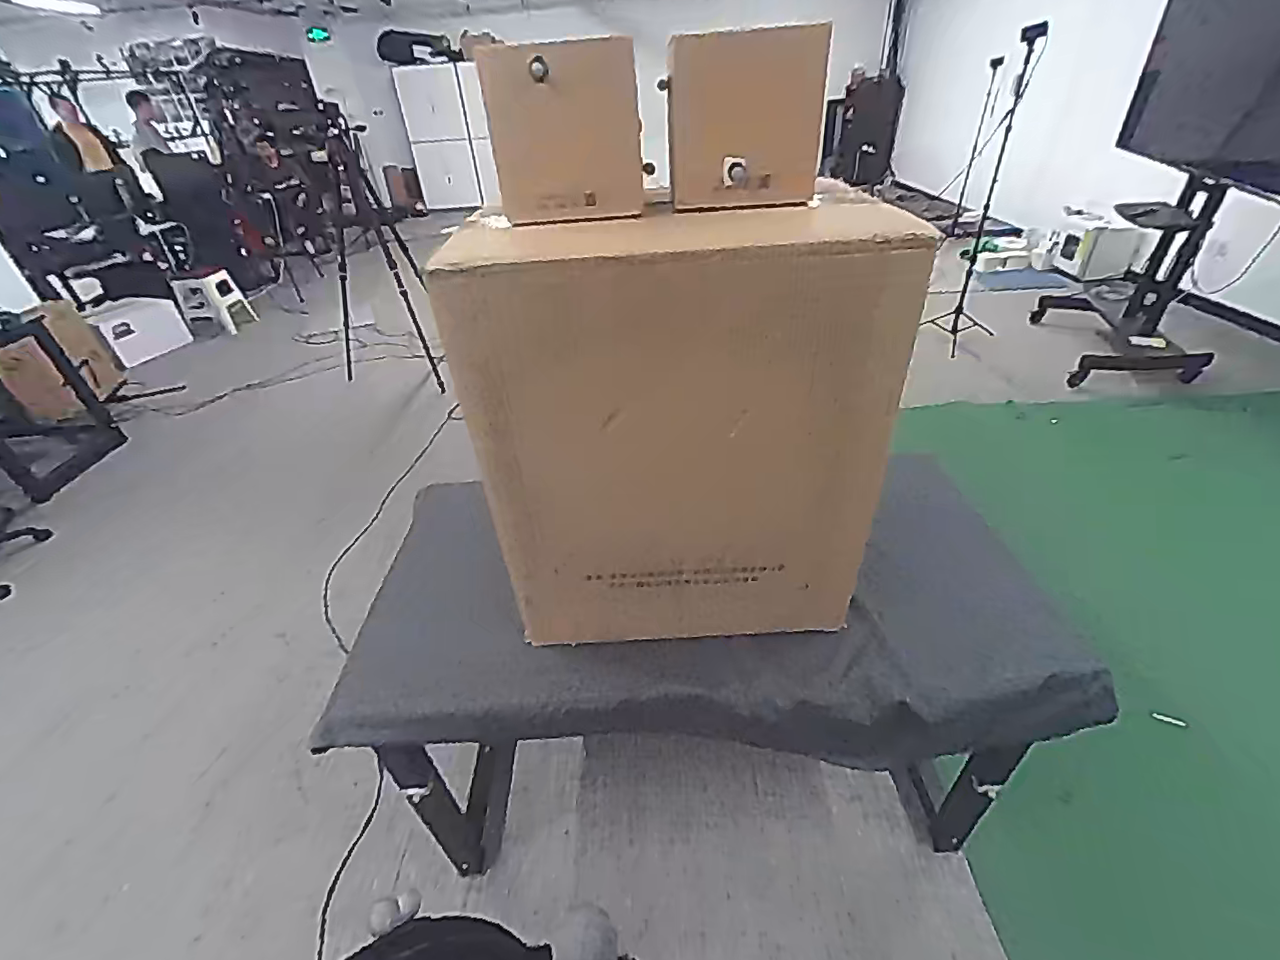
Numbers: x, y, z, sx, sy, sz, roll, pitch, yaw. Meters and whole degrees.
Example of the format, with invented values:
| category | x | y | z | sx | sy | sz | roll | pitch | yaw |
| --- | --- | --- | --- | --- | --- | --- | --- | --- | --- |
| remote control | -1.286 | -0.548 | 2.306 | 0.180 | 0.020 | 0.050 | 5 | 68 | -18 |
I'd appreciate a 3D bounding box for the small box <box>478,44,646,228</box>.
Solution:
| category | x | y | z | sx | sy | sz | roll | pitch | yaw |
| --- | --- | --- | --- | --- | --- | --- | --- | --- | --- |
| small box | -0.082 | -0.418 | 0.671 | 0.168 | 0.176 | 0.179 | -4 | 34 | 3 |
